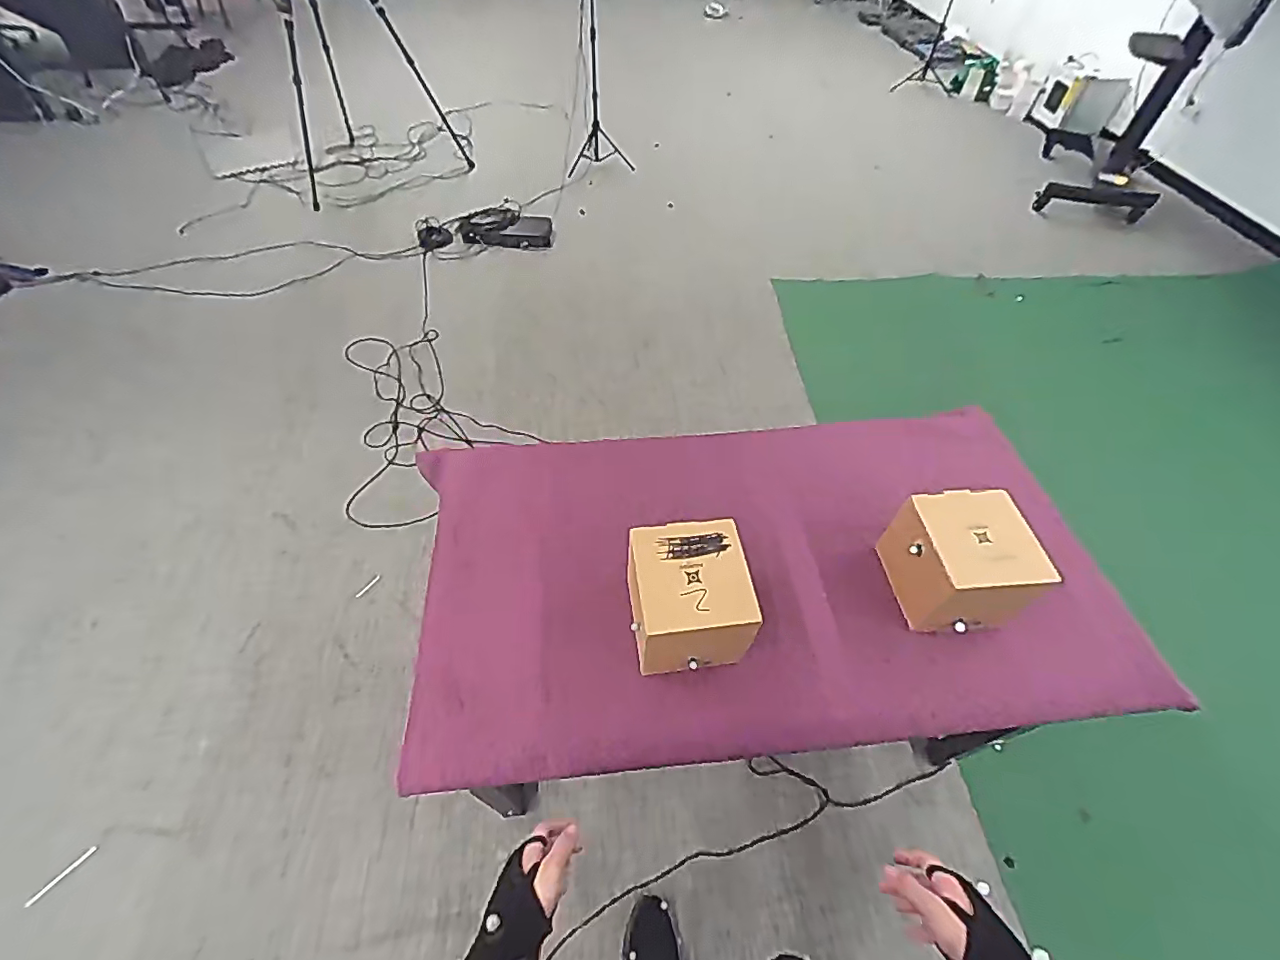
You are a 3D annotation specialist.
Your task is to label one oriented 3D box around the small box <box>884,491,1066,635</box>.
[{"bbox_3d":[0.533,0.138,0.895,0.168,0.176,0.179,-3,51,-2],"label":"small box"}]
